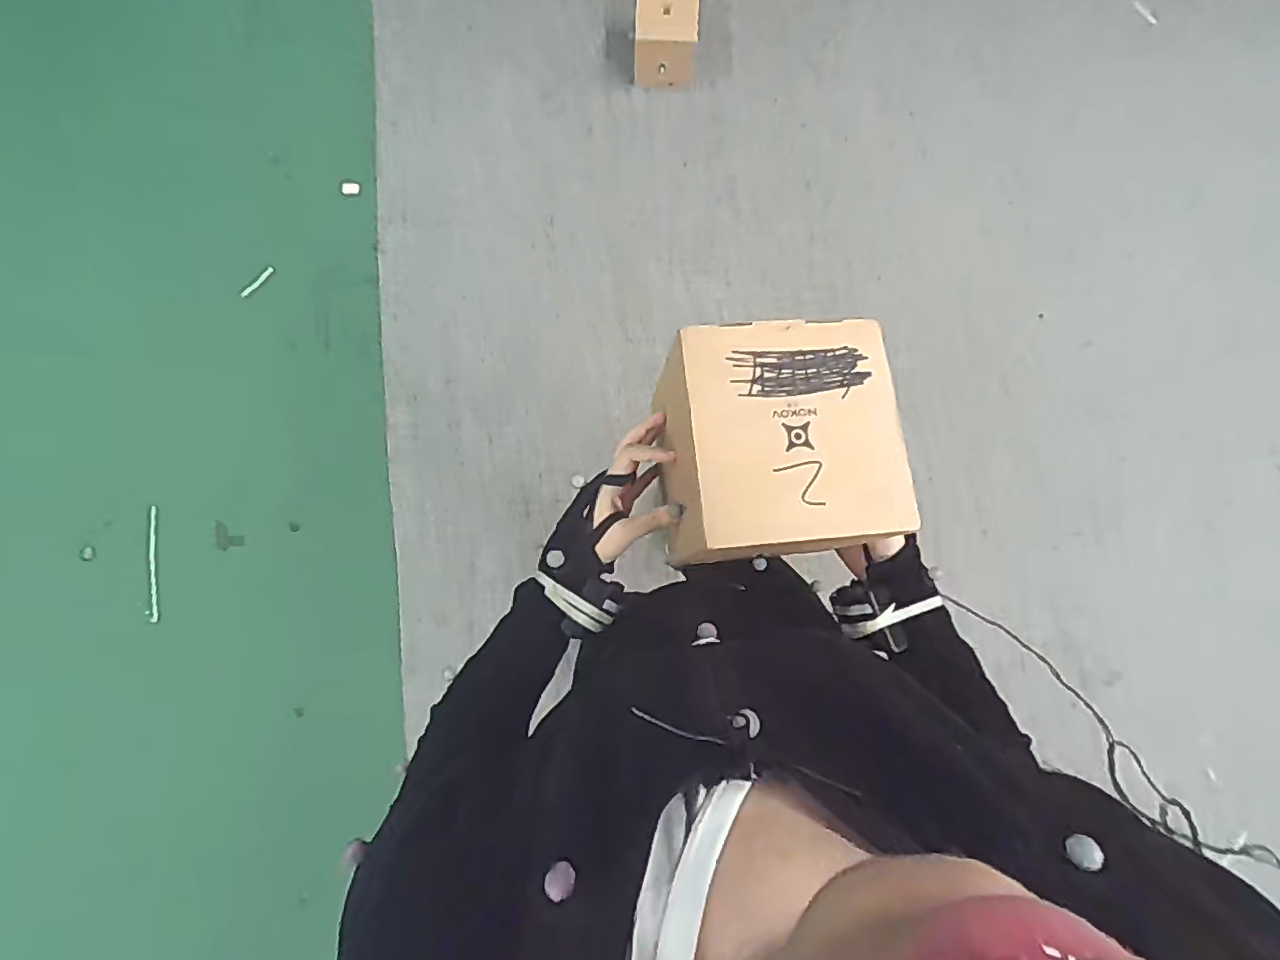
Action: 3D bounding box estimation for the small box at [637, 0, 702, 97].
[{"bbox_3d":[0.079,-1.209,1.503,0.168,0.176,0.179,3,86,0],"label":"small box"}]
